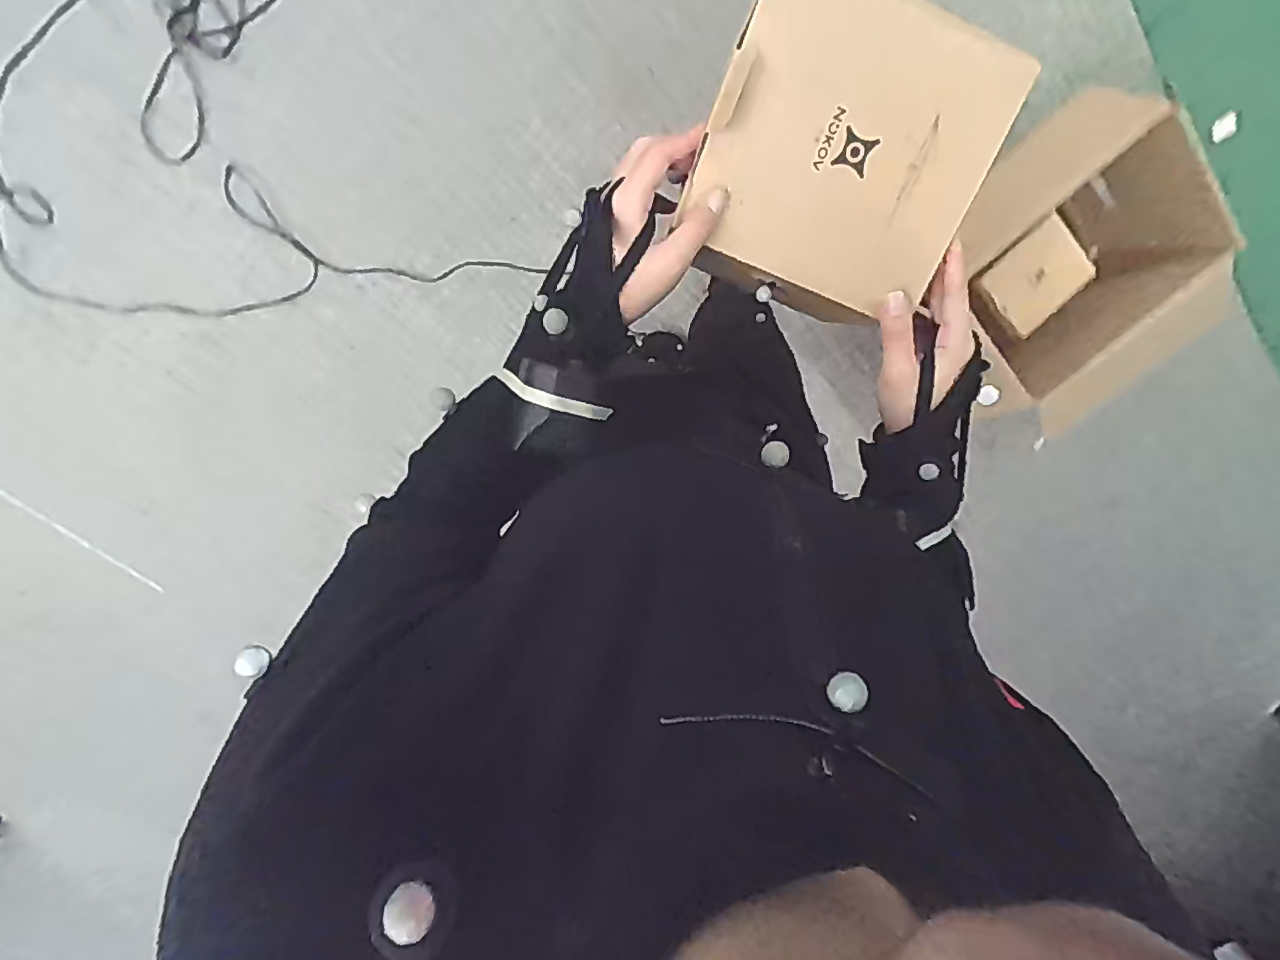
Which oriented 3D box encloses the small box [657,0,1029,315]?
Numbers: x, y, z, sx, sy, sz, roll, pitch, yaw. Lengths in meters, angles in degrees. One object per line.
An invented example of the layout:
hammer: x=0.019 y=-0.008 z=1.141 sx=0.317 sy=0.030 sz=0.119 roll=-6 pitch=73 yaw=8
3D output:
small box: x=0.119 y=-0.231 z=0.404 sx=0.179 sy=0.176 sz=0.168 roll=18 pitch=107 yaw=-7
